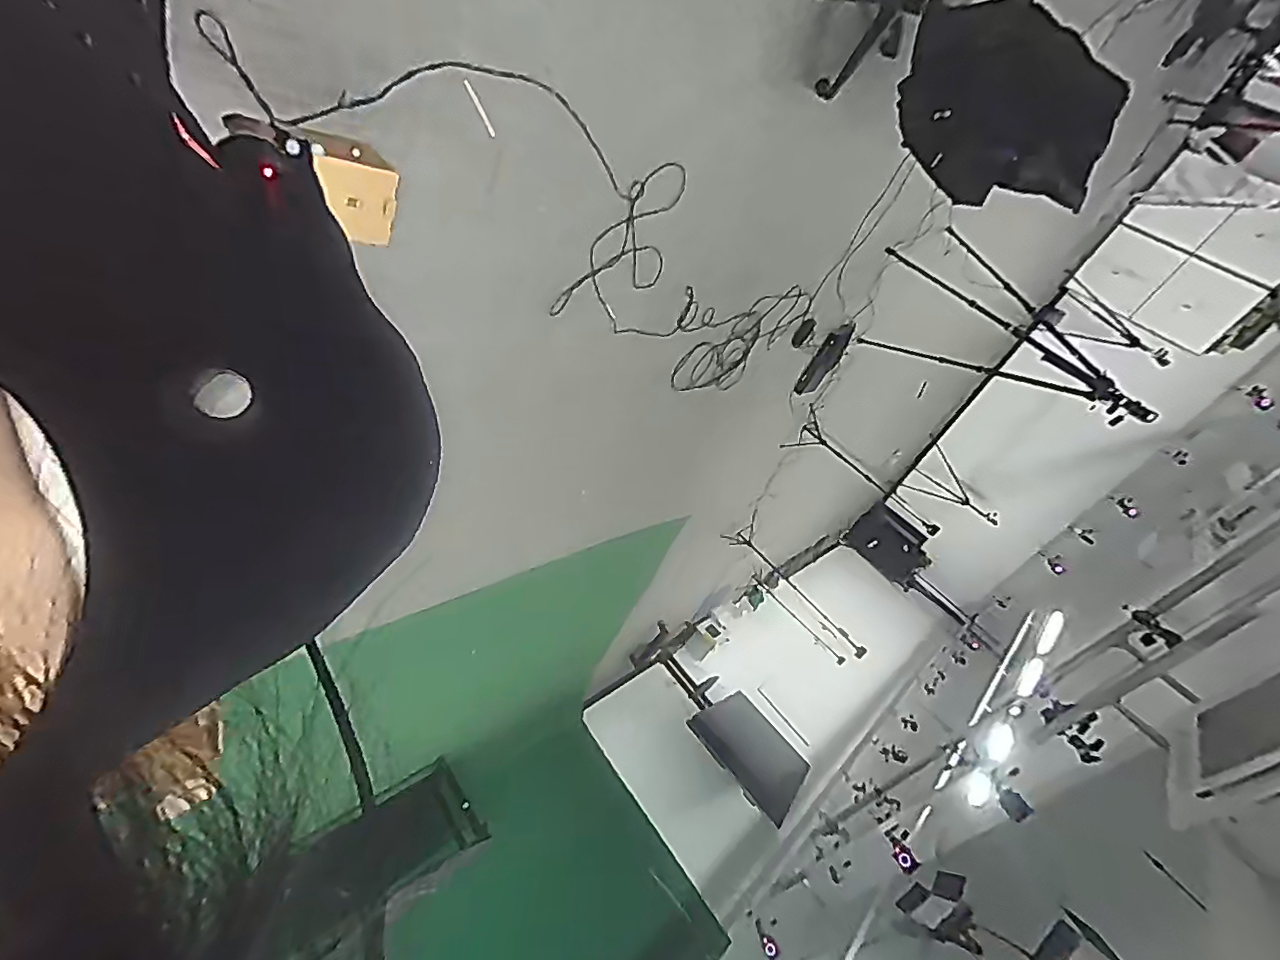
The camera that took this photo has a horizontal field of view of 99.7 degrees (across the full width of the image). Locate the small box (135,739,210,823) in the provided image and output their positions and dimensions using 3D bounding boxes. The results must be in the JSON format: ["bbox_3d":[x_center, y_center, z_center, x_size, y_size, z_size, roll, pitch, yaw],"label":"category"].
[{"bbox_3d":[-1.618,1.033,1.873,0.168,0.176,0.179,-14,141,-45],"label":"small box"}]

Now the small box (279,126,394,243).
[{"bbox_3d":[-0.683,-0.660,1.209,0.179,0.176,0.168,-15,142,-46],"label":"small box"}]

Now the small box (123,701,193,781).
[{"bbox_3d":[-1.729,0.937,1.948,0.168,0.176,0.179,-16,142,-44],"label":"small box"}]
